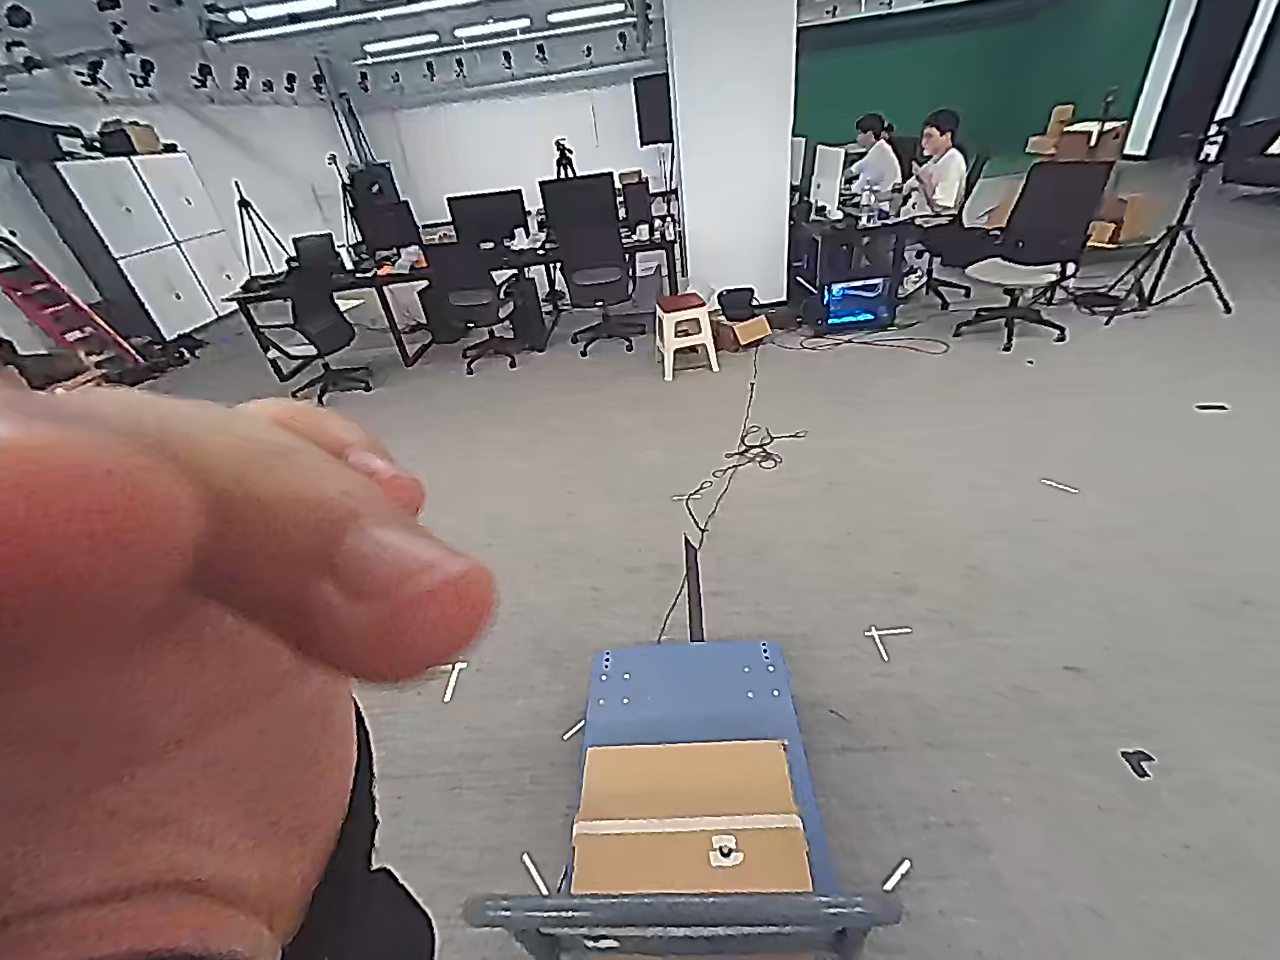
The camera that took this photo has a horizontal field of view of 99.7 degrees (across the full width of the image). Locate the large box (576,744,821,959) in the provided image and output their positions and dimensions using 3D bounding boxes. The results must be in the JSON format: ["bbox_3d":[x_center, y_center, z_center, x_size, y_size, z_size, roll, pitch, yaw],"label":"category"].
[{"bbox_3d":[0.107,0.764,1.069,0.408,0.320,0.320,-5,34,4],"label":"large box"}]
